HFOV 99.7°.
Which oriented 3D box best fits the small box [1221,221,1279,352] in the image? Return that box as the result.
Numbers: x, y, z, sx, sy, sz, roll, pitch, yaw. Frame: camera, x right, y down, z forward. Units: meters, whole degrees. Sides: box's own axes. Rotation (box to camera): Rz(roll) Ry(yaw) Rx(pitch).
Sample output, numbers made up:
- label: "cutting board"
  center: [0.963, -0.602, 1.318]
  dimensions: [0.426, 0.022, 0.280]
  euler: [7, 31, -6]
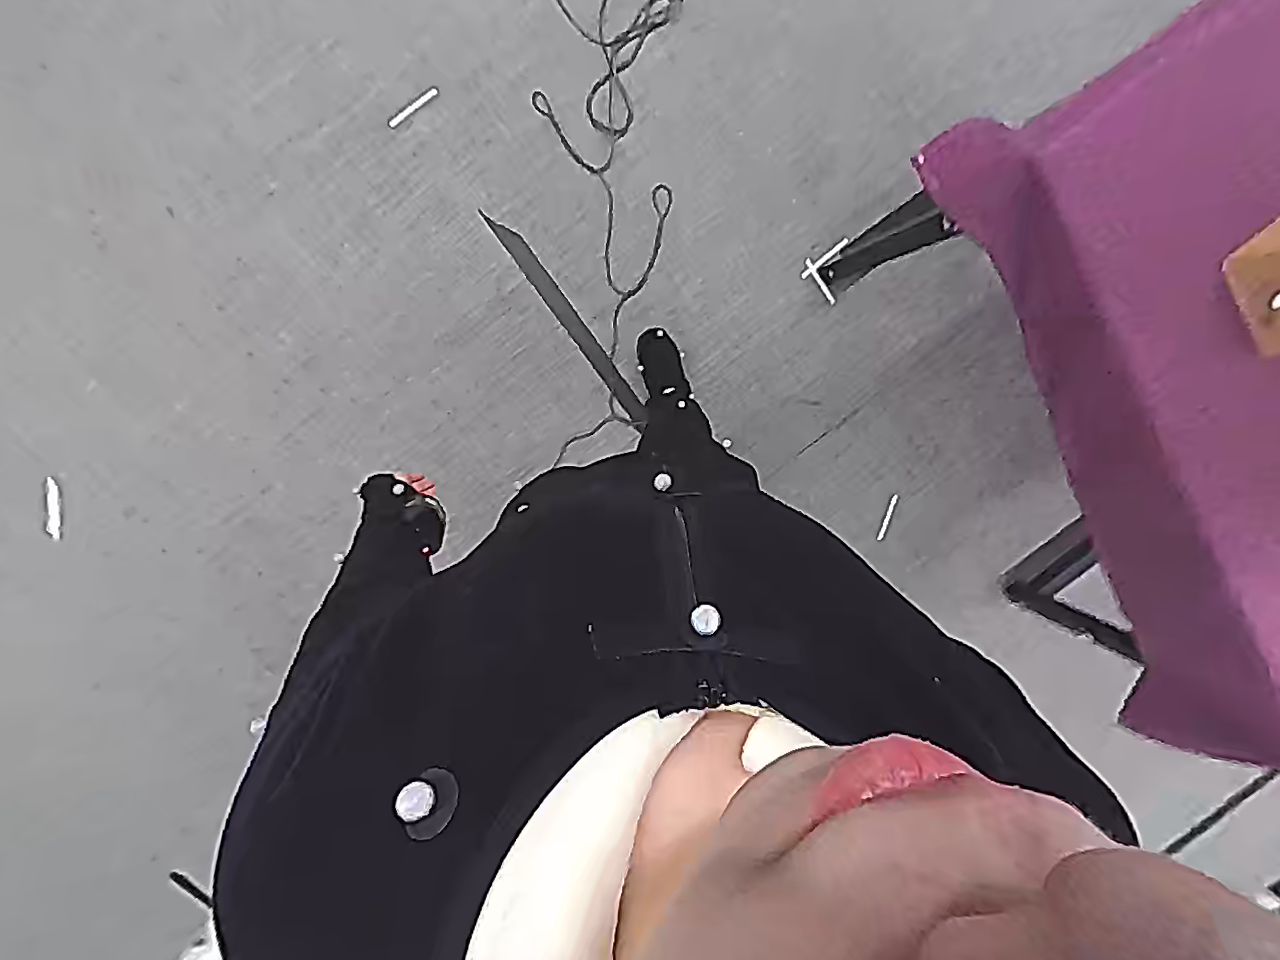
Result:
- label: "small box"
  center: [0.959, -0.288, 0.720]
  dimensions: [0.179, 0.176, 0.168]
  euler: [-38, 103, 2]
